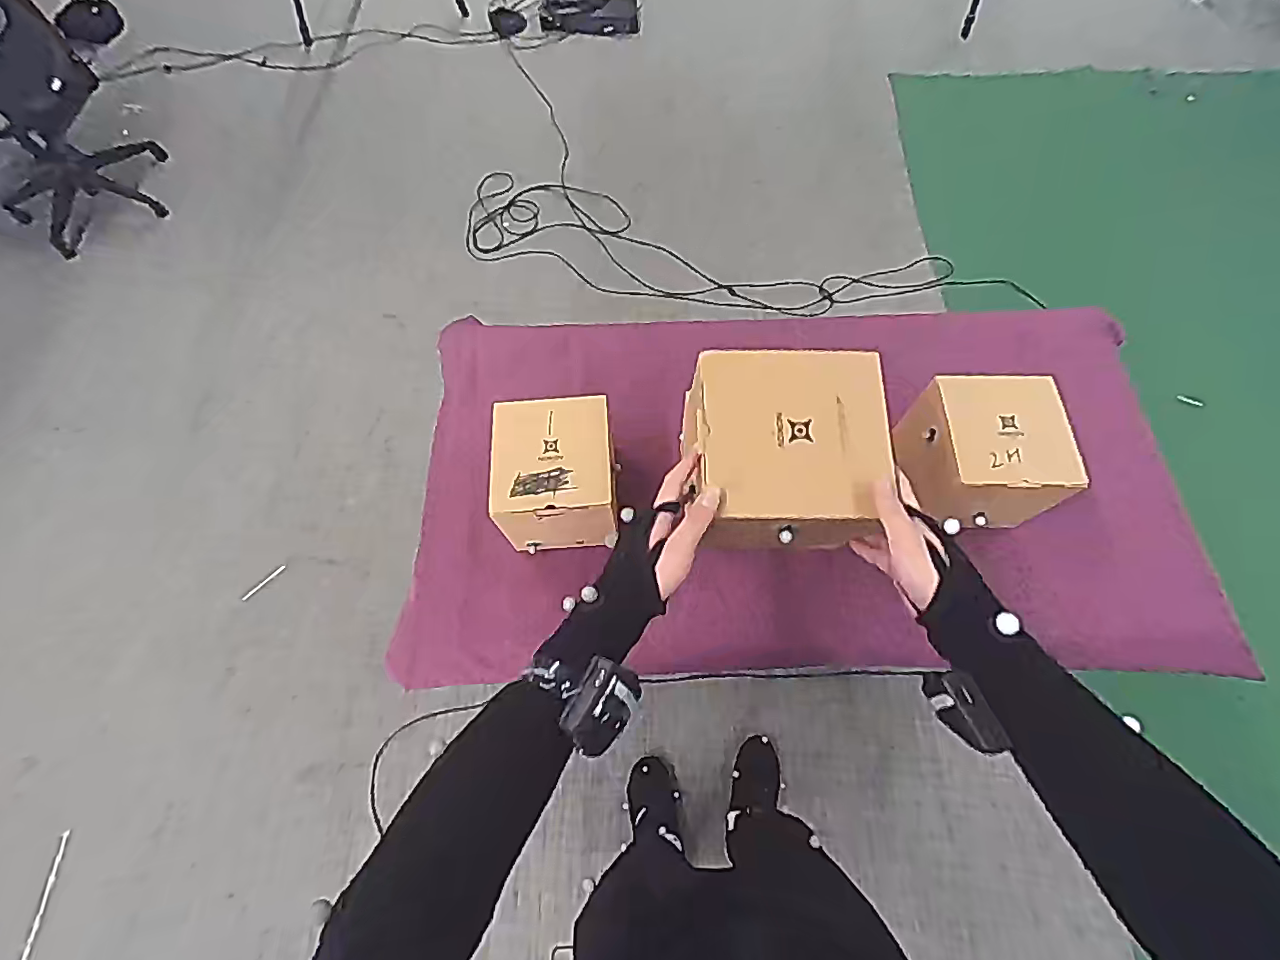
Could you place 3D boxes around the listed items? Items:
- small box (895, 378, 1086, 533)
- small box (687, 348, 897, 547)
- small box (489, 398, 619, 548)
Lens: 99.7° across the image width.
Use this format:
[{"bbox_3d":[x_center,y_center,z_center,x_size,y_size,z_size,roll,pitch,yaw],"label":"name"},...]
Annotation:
[{"bbox_3d":[0.506,-0.033,0.815,0.168,0.176,0.179,1,66,3],"label":"small box"},{"bbox_3d":[0.141,-0.024,0.574,0.179,0.176,0.168,1,73,-1],"label":"small box"},{"bbox_3d":[-0.121,-0.001,0.819,0.168,0.176,0.179,-4,65,0],"label":"small box"}]
